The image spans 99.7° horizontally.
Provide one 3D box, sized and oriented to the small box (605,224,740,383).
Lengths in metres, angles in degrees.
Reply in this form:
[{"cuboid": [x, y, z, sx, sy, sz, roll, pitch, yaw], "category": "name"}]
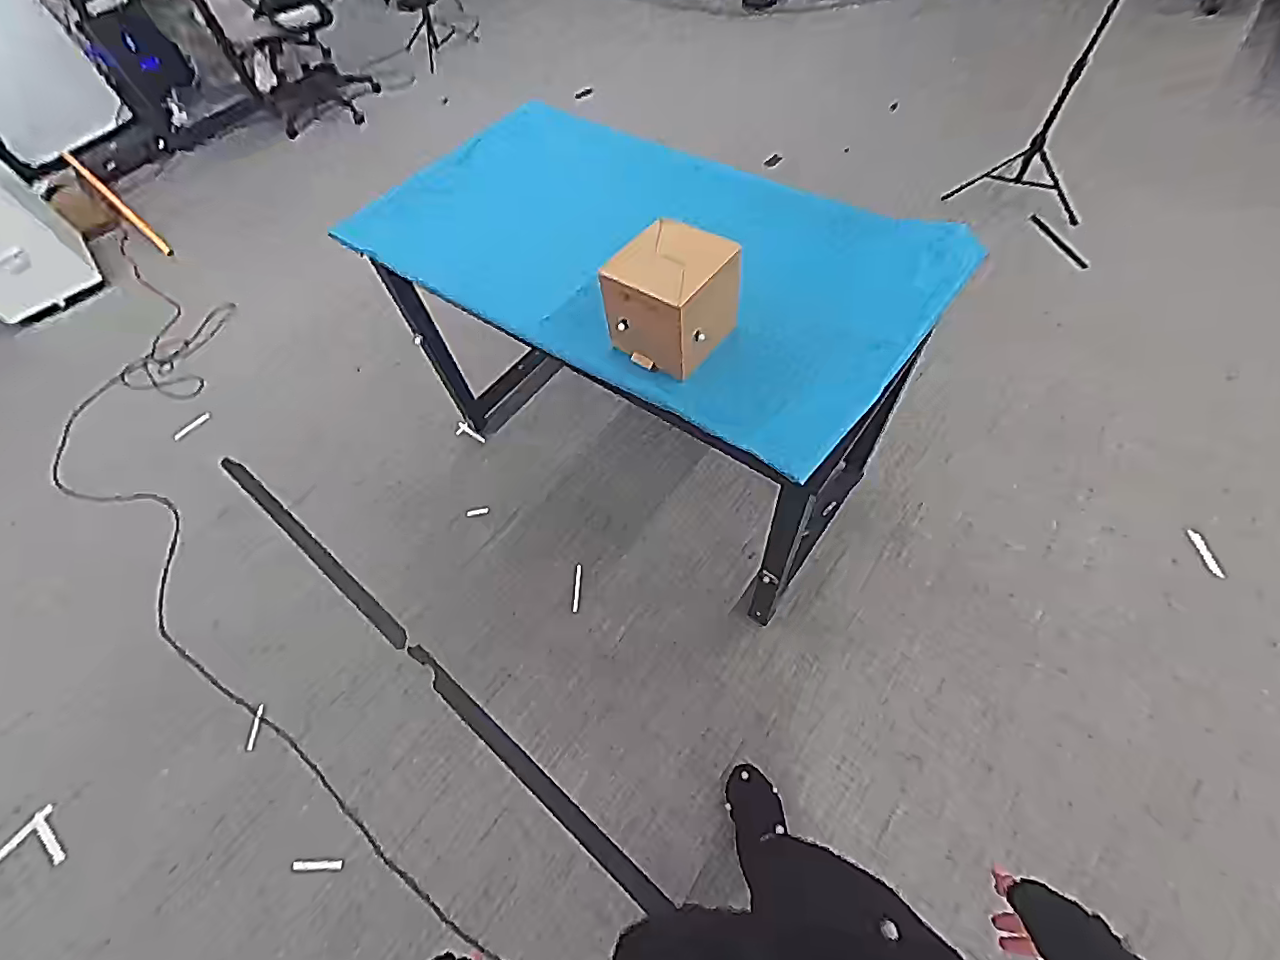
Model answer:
[{"cuboid": [0.057, -0.307, 0.934, 0.168, 0.176, 0.179, 31, 66, 23], "category": "small box"}]
